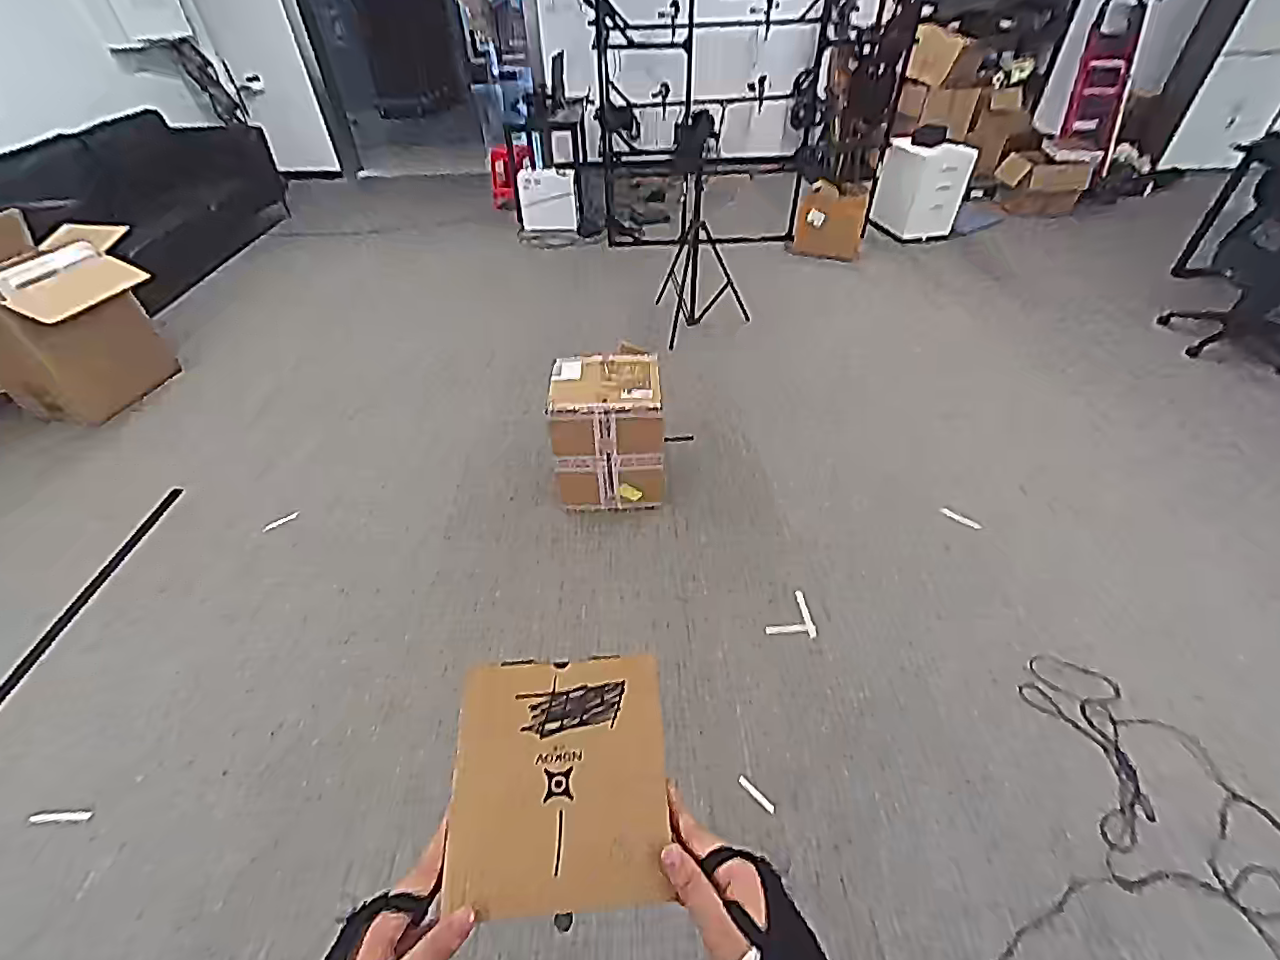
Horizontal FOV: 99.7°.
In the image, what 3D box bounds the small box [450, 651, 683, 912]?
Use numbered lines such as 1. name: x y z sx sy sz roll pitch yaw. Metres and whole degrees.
1. small box: -0.059 0.271 0.490 0.168 0.176 0.179 -2 55 -4
